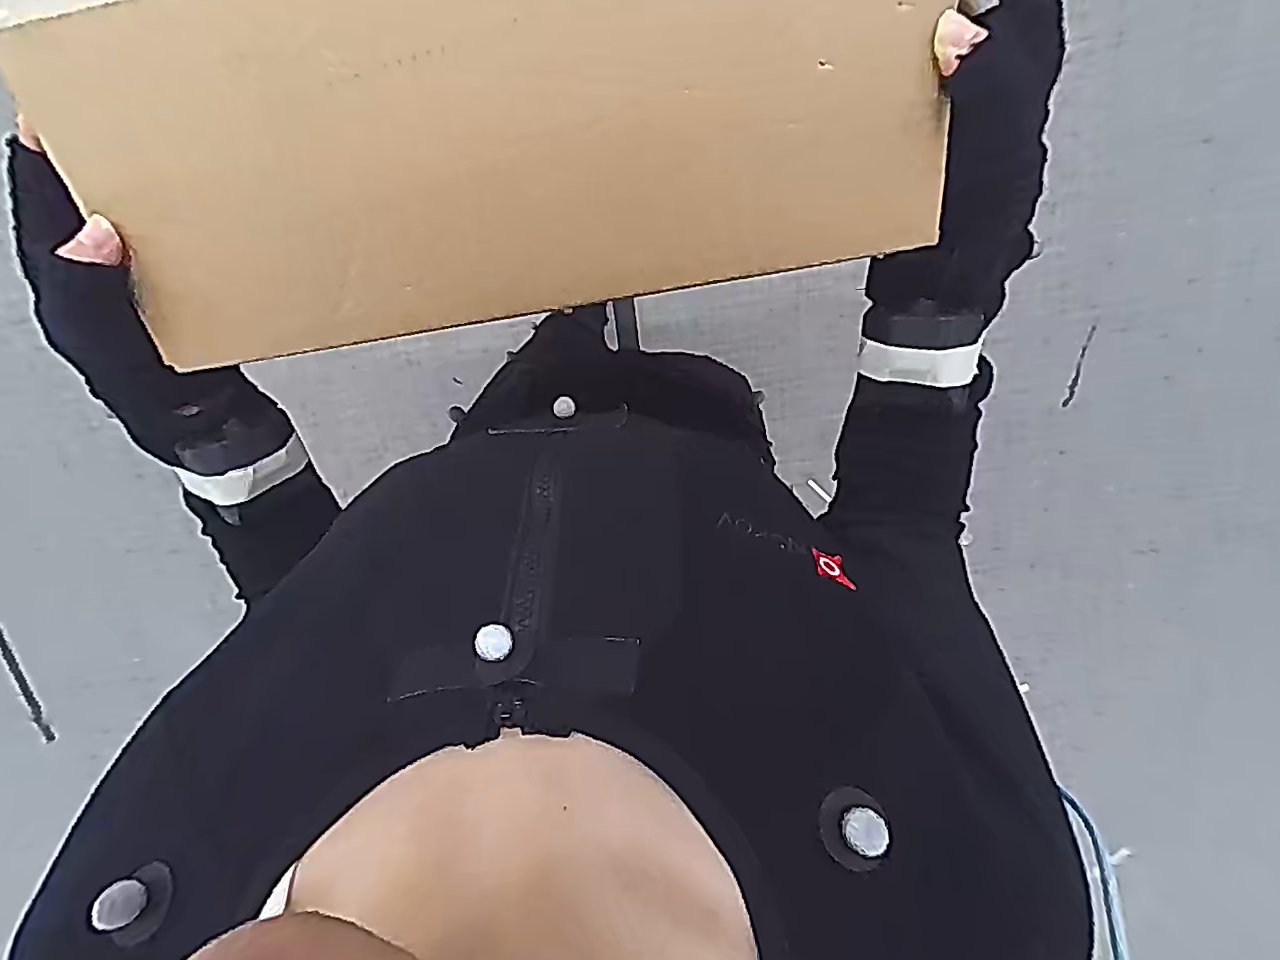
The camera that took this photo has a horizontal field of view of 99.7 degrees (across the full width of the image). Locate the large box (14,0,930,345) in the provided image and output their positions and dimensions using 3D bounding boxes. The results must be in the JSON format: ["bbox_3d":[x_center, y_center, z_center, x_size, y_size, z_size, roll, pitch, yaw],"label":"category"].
[{"bbox_3d":[-0.081,-0.305,0.356,0.408,0.320,0.320,-9,117,4],"label":"large box"}]
